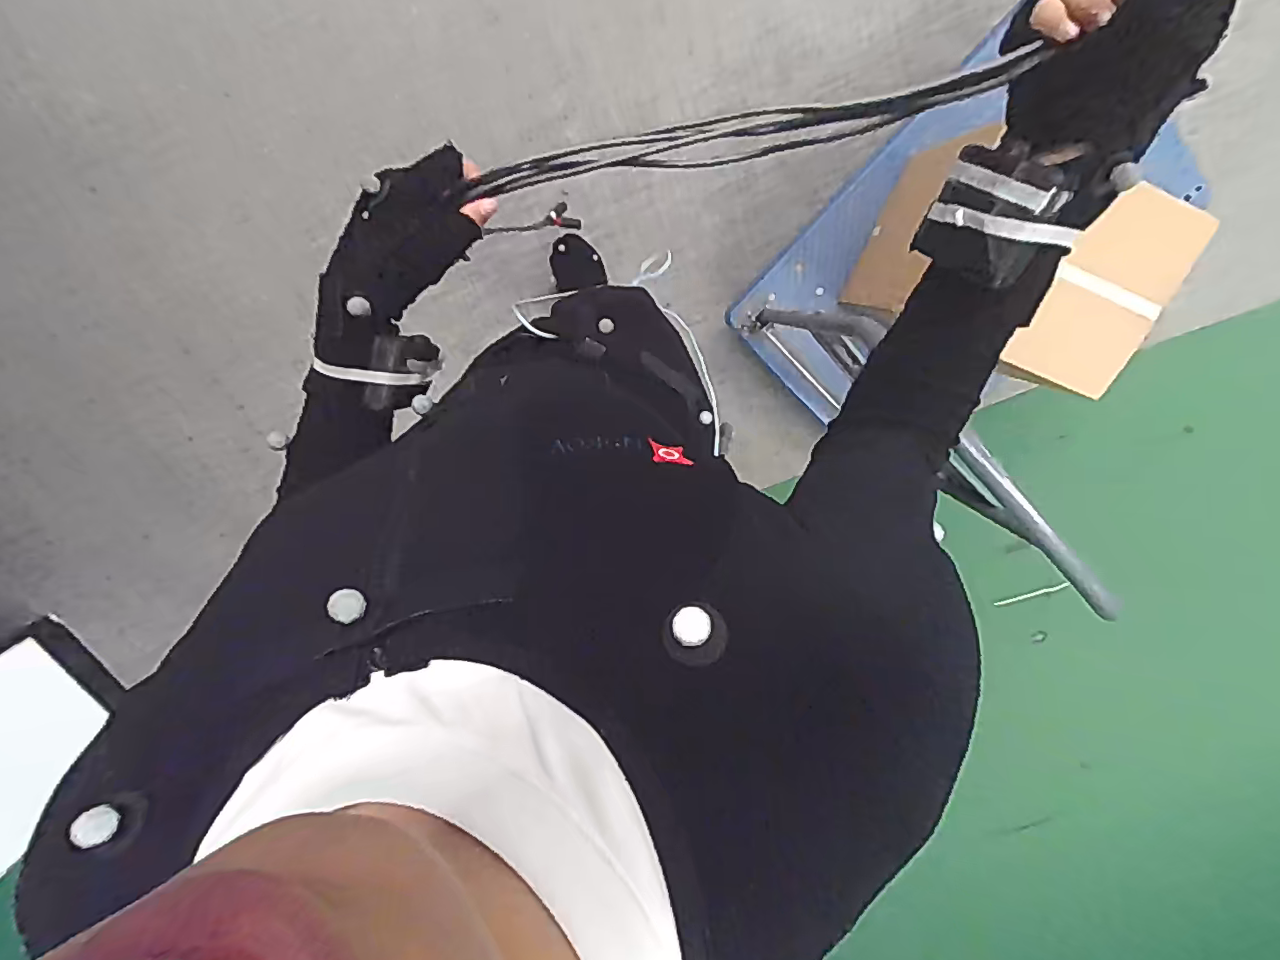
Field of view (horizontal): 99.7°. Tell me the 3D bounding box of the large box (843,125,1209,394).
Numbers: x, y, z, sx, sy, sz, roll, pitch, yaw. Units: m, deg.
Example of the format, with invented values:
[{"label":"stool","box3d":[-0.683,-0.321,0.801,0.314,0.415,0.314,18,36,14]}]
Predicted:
[{"label":"large box","box3d":[0.683,-0.401,1.034,0.408,0.320,0.320,20,109,-7]}]
